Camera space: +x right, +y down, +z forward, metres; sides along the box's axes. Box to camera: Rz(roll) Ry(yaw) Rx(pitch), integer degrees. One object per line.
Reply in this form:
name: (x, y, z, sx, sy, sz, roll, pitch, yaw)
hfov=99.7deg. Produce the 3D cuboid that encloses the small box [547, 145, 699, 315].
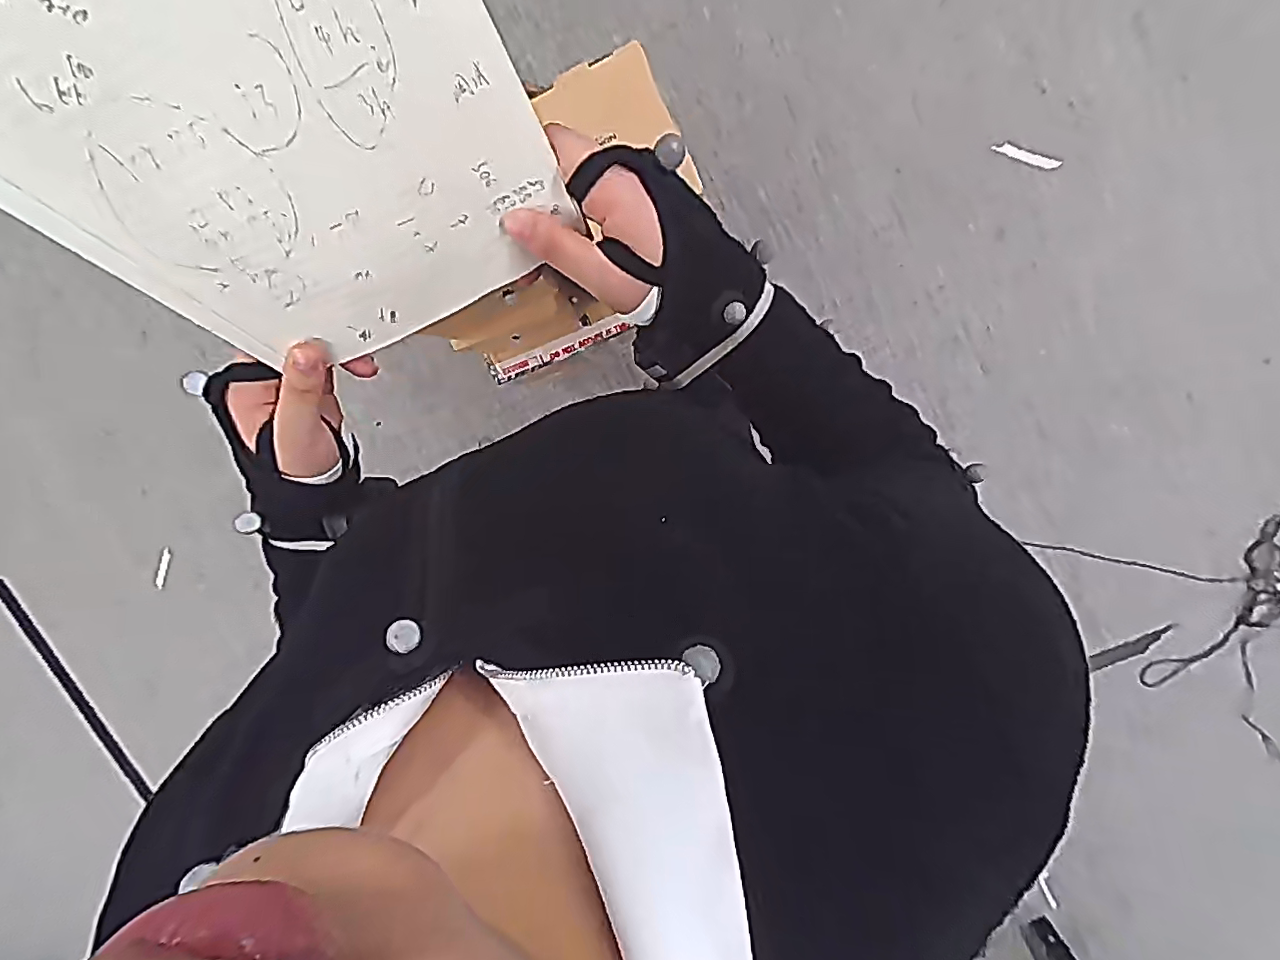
small box: (-0.024, -0.385, 0.866, 0.179, 0.176, 0.168, -27, 99, 6)

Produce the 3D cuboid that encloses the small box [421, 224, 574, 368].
small box: (-0.219, -0.293, 0.892, 0.179, 0.176, 0.168, -18, 100, 8)
